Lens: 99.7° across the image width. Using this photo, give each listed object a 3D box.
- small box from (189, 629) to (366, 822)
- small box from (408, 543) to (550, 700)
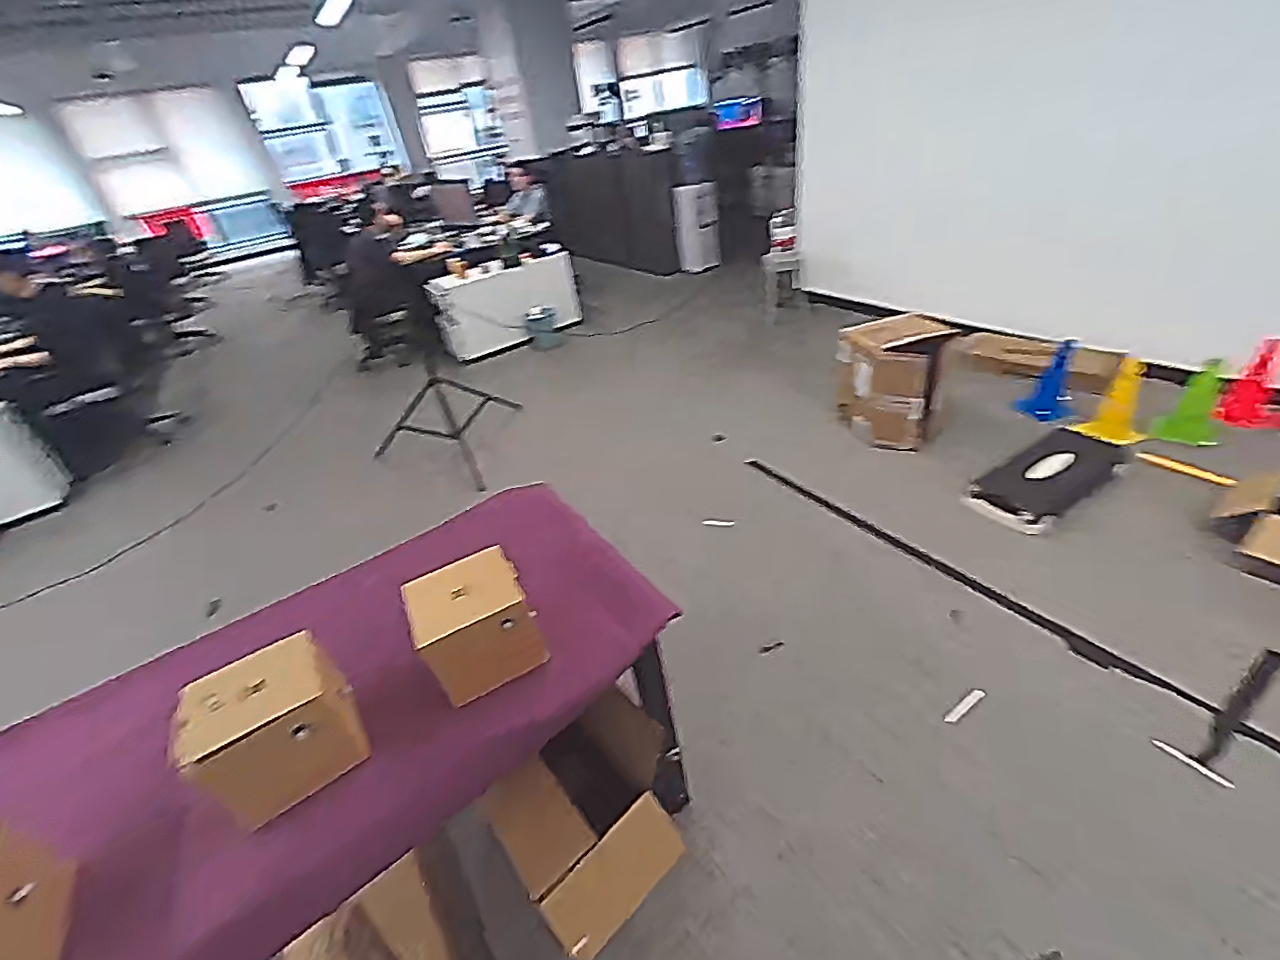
[{"bbox_3d":[-0.550,0.376,0.840,0.179,0.176,0.168,-28,36,-24],"label":"small box"},{"bbox_3d":[-0.281,0.249,0.955,0.179,0.176,0.168,-23,37,-19],"label":"small box"}]
